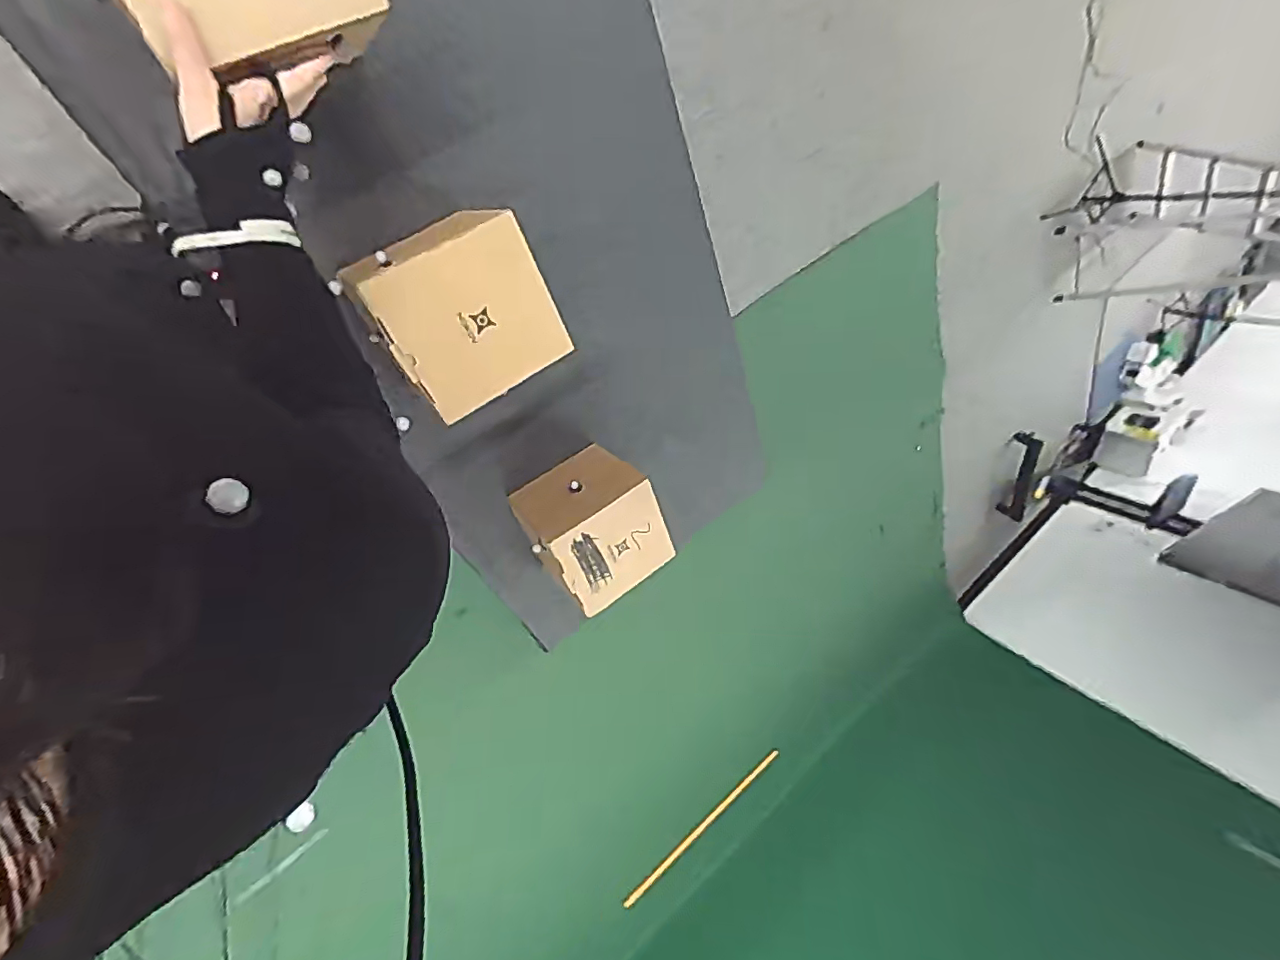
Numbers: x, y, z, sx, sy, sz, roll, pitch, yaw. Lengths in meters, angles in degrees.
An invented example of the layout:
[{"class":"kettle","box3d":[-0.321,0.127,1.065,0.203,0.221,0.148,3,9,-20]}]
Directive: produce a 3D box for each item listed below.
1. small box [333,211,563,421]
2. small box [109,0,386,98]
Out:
[{"class":"small box","box3d":[-0.227,-0.202,0.638,0.179,0.176,0.168,-36,130,-17]},{"class":"small box","box3d":[-0.342,-0.433,0.428,0.179,0.176,0.168,-36,129,-18]}]
